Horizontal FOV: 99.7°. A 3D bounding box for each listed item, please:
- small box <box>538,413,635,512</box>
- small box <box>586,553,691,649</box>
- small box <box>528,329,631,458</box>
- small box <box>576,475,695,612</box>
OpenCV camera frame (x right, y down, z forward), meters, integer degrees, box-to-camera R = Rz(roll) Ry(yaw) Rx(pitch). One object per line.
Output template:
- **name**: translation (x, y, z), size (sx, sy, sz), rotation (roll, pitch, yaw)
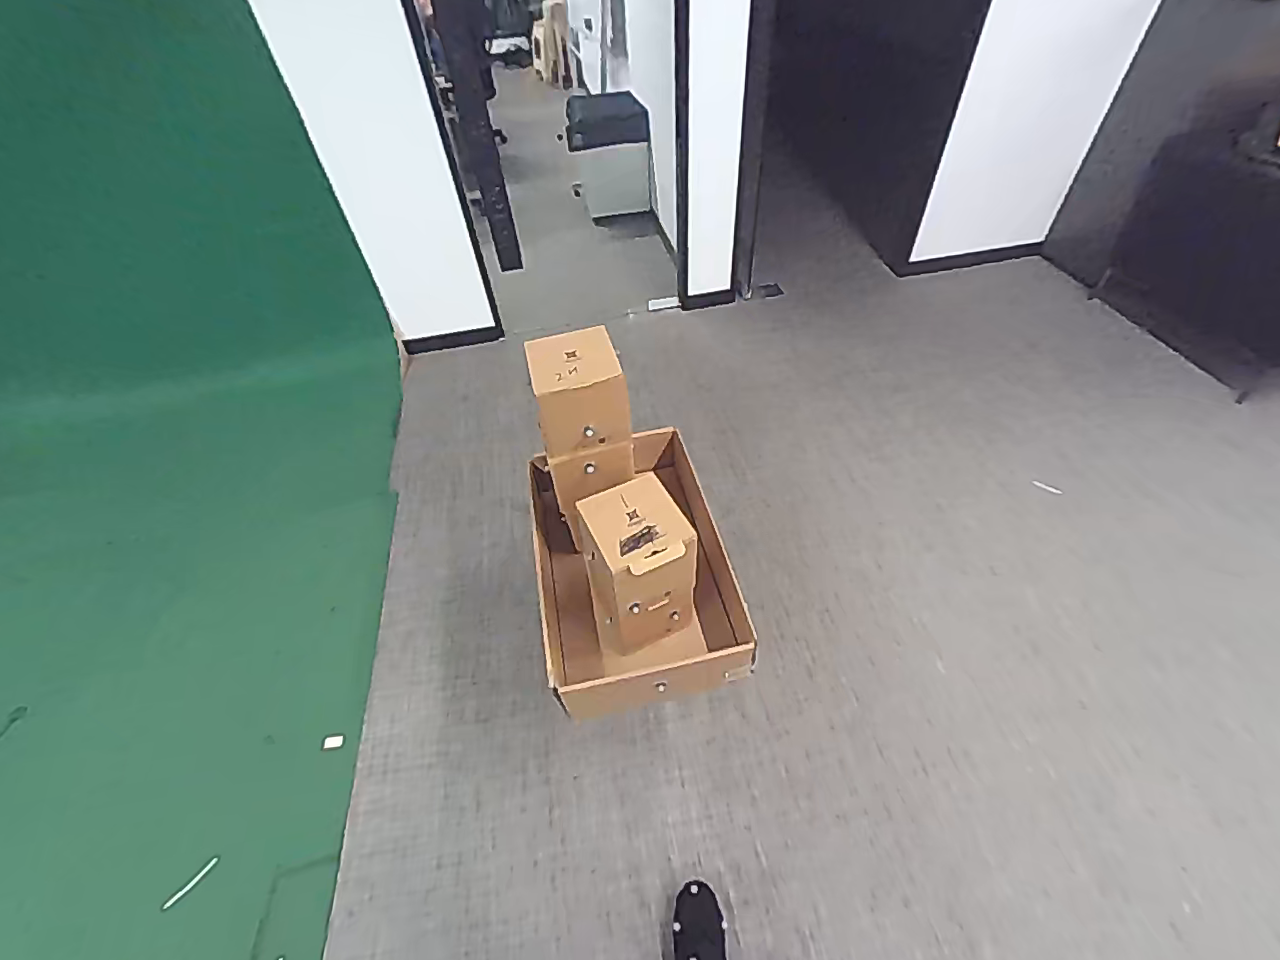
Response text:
- **small box**: translation (-0.113, -0.055, 1.199), size (0.179, 0.176, 0.168), rotation (-15, 49, -7)
- **small box**: translation (0.000, 0.236, 1.152), size (0.168, 0.176, 0.179), rotation (-21, 49, -14)
- **small box**: translation (-0.120, -0.173, 1.084), size (0.168, 0.176, 0.179), rotation (-14, 49, -6)
- **small box**: translation (-0.007, 0.128, 1.029), size (0.168, 0.176, 0.179), rotation (-20, 49, -15)
